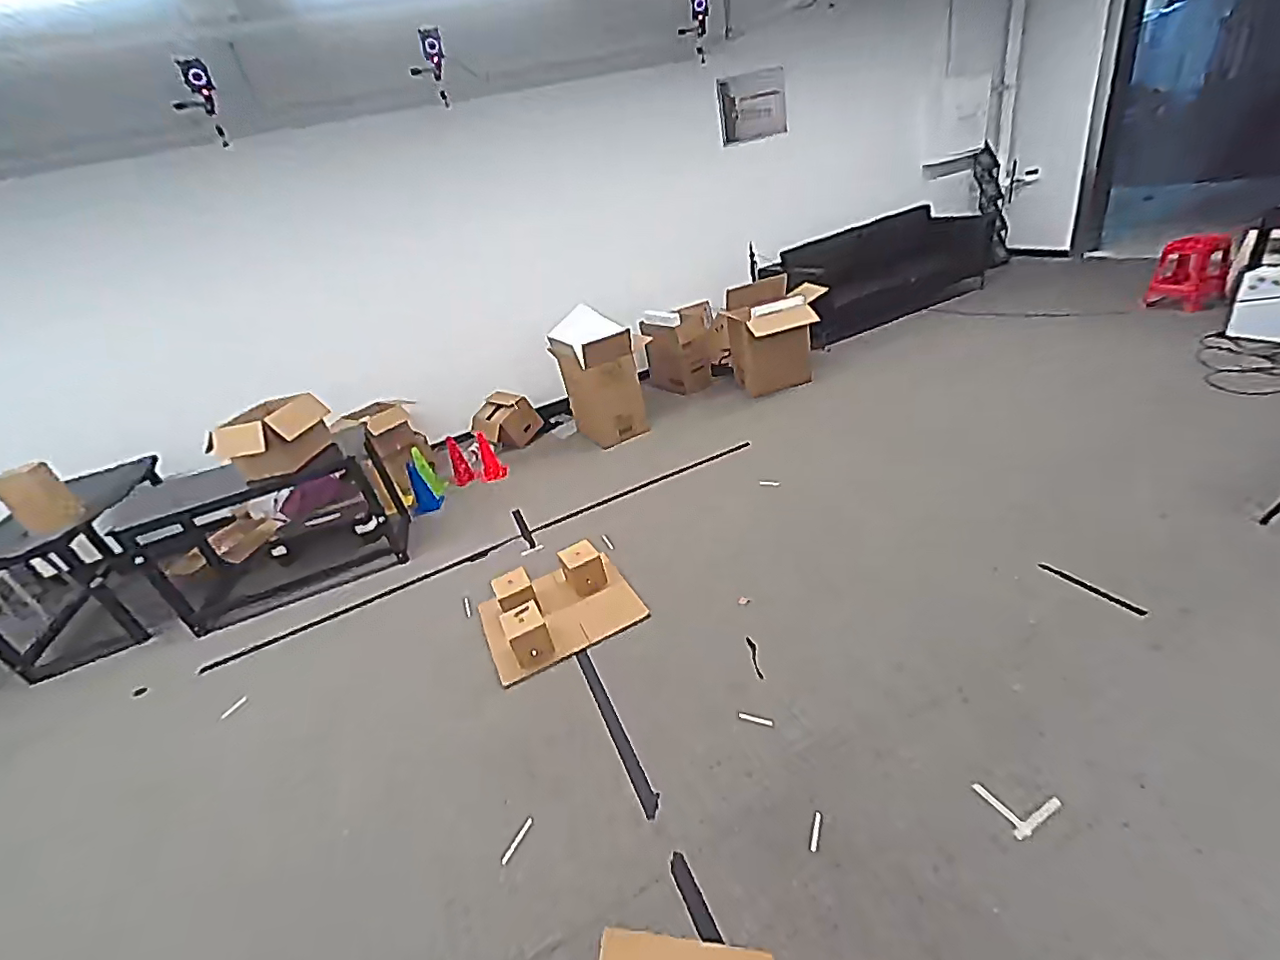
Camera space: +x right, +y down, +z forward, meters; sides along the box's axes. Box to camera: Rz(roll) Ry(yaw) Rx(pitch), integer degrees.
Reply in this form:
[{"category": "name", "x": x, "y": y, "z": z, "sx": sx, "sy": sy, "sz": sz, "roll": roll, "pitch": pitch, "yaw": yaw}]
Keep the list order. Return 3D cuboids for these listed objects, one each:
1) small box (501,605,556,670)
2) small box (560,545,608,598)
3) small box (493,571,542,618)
[{"category": "small box", "x": -0.483, "y": 0.683, "z": 2.345, "sx": 0.168, "sy": 0.176, "sz": 0.179, "roll": -24, "pitch": 30, "yaw": -17}, {"category": "small box", "x": -0.279, "y": 0.455, "z": 2.687, "sx": 0.168, "sy": 0.176, "sz": 0.179, "roll": -25, "pitch": 30, "yaw": -20}, {"category": "small box", "x": -0.585, "y": 0.575, "z": 2.588, "sx": 0.168, "sy": 0.176, "sz": 0.179, "roll": -23, "pitch": 30, "yaw": -17}]
